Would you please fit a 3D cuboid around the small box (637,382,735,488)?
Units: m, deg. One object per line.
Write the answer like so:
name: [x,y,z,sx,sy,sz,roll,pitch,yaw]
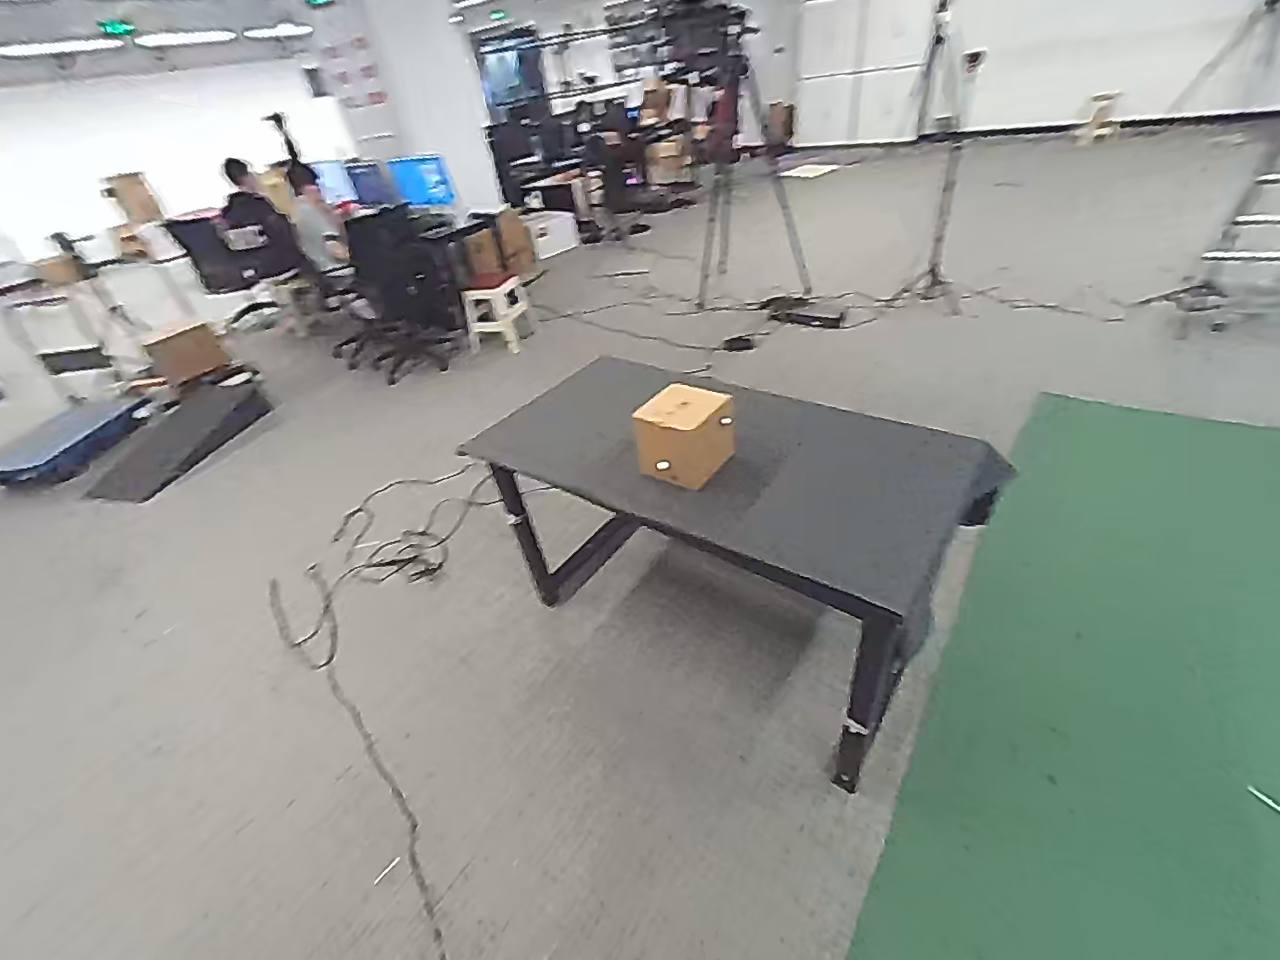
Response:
small box: [0.114,-0.111,1.298,0.168,0.176,0.179,20,46,33]
